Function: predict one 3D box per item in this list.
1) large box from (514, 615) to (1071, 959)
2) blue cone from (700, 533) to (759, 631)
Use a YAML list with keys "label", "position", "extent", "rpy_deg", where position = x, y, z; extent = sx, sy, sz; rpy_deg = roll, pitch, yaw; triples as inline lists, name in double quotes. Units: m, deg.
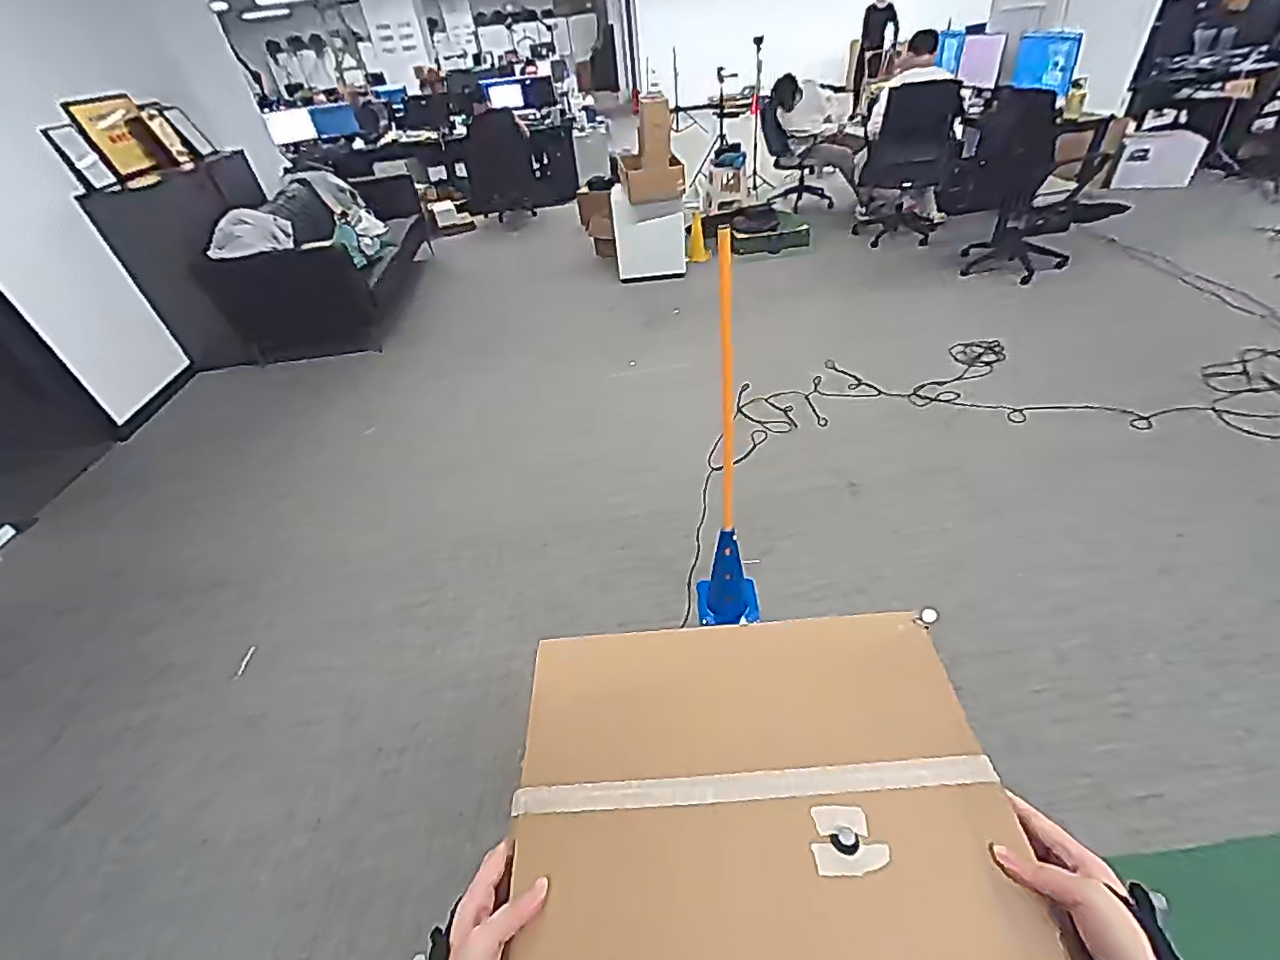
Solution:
- label: "large box"
  position: [0.108, 0.375, 0.575]
  extent: [0.408, 0.320, 0.320]
  rpy_deg: [-5, 44, 2]
- label: "blue cone"
  position: [0.283, 0.305, 1.728]
  extent: [0.193, 0.380, 0.192]
  rpy_deg: [-3, 40, 6]
